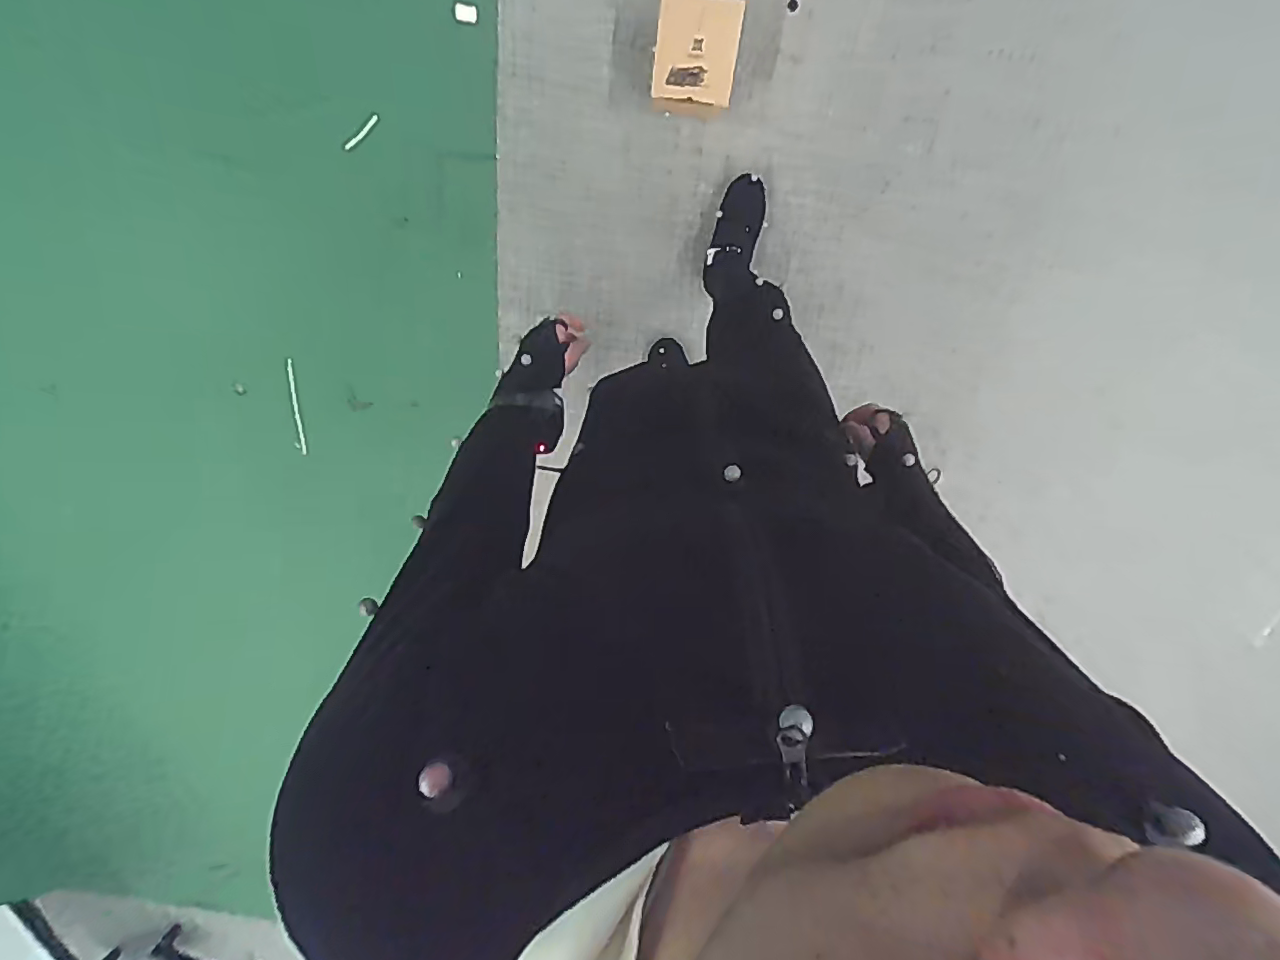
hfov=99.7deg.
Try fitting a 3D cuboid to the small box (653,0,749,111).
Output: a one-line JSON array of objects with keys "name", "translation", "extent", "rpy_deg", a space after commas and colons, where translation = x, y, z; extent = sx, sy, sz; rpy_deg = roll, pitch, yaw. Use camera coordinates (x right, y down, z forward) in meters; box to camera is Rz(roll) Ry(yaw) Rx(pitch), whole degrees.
[{"name": "small box", "translation": [0.126, -0.896, 1.132], "extent": [0.168, 0.176, 0.179], "rpy_deg": [9, 116, 1]}]
